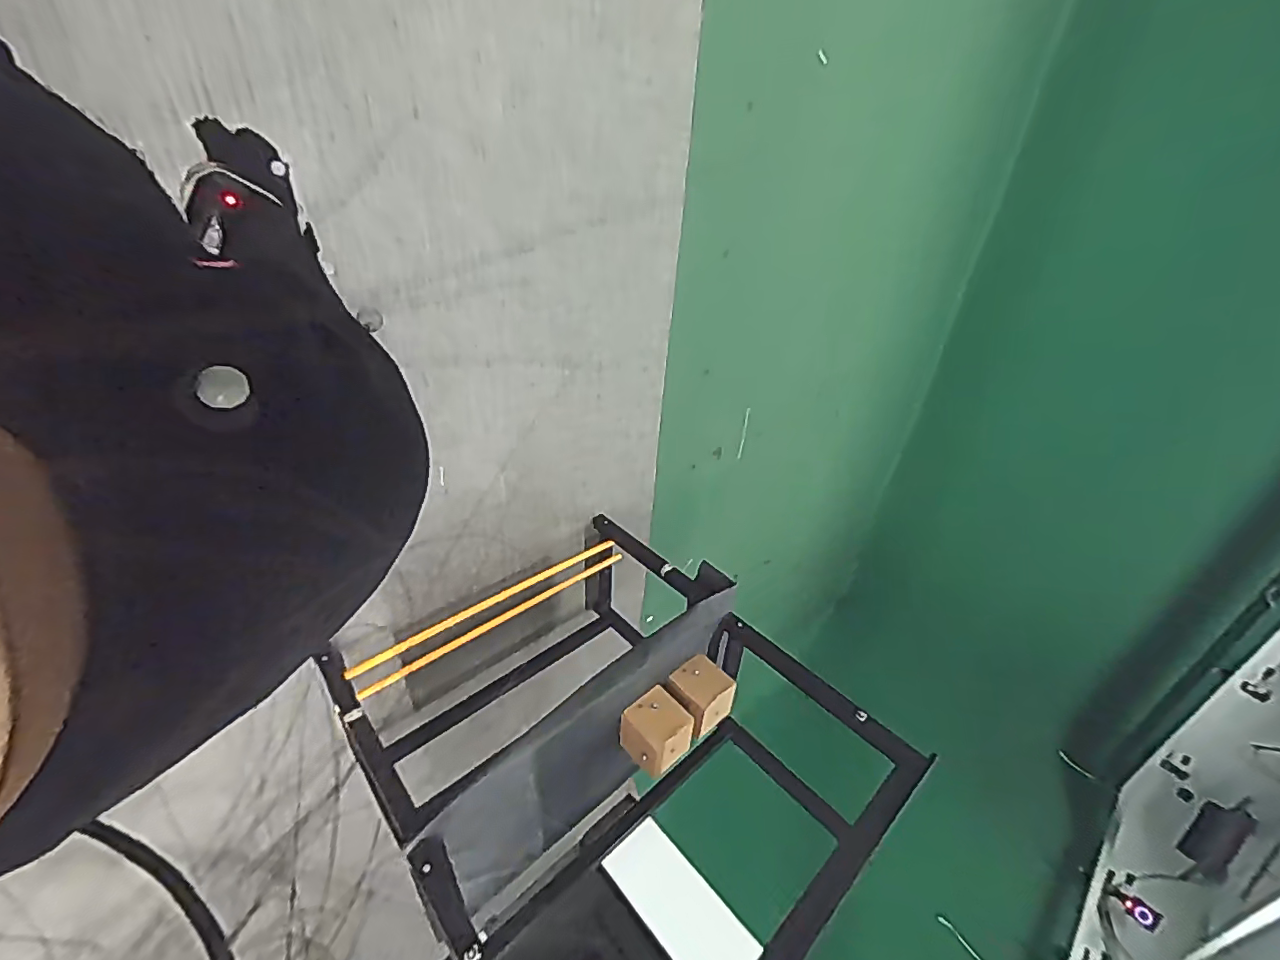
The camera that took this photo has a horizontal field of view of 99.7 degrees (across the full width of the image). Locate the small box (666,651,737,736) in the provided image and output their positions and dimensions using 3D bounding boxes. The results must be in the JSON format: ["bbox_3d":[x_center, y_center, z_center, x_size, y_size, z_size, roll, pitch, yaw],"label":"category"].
[{"bbox_3d":[0.205,0.732,1.866,0.168,0.176,0.179,-24,132,-36],"label":"small box"}]
